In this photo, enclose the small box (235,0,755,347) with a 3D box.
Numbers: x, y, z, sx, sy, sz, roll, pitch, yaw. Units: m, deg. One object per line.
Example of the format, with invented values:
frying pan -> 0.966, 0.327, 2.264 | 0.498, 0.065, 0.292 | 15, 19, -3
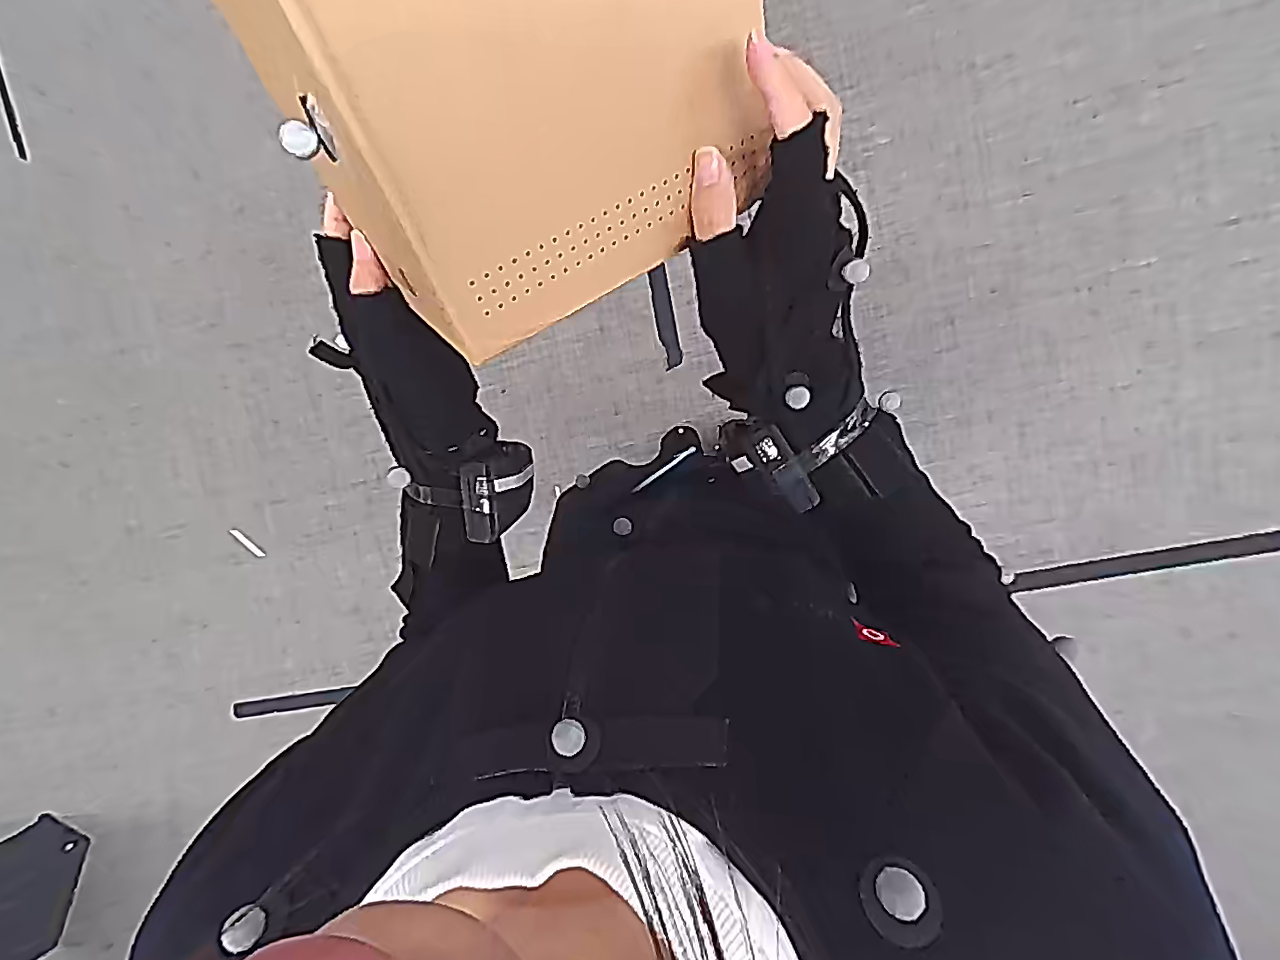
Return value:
small box -> -0.062, -0.192, 0.268 | 0.179, 0.176, 0.168 | -34, 44, -15
